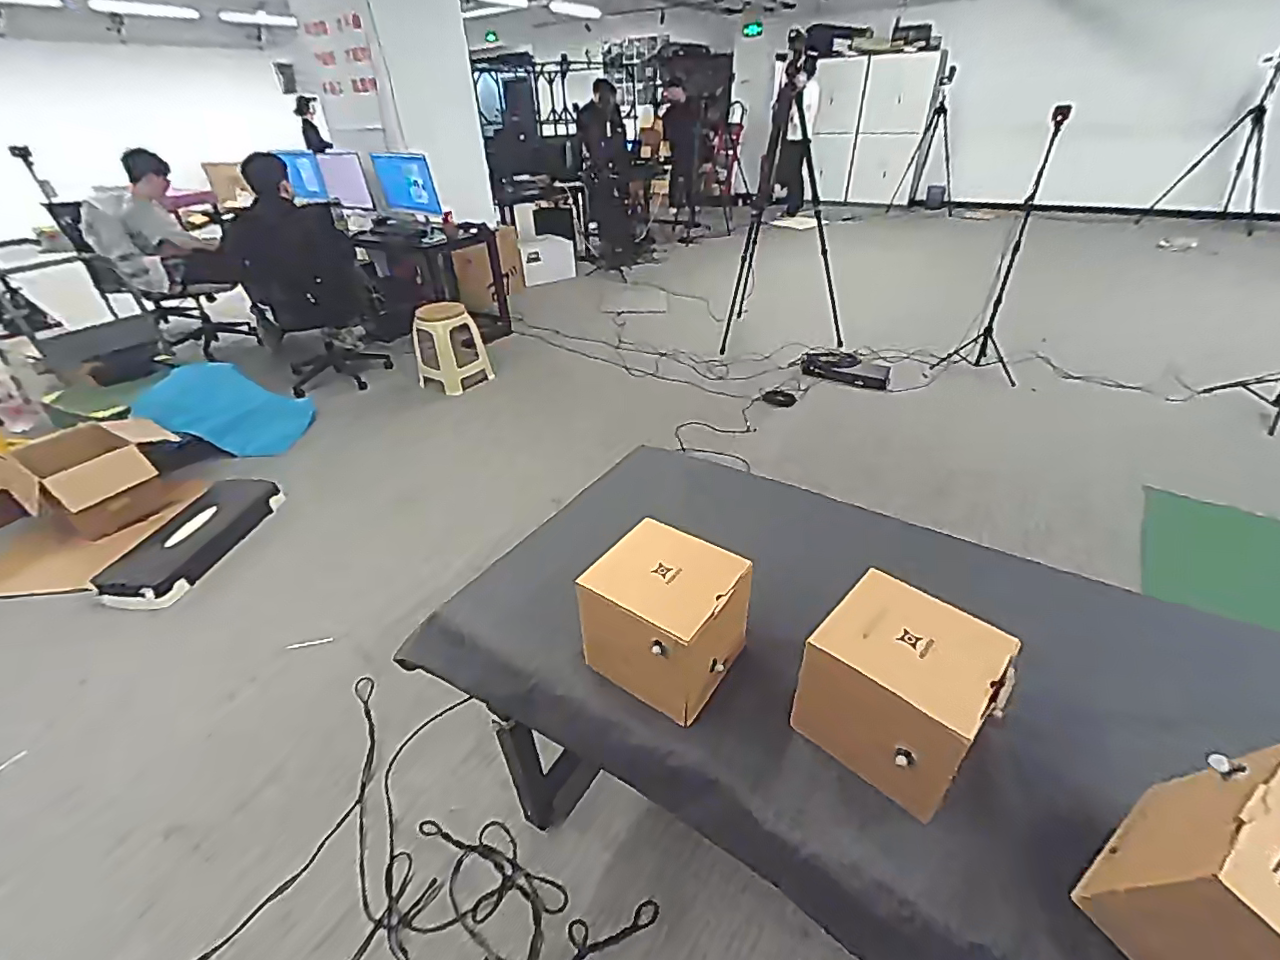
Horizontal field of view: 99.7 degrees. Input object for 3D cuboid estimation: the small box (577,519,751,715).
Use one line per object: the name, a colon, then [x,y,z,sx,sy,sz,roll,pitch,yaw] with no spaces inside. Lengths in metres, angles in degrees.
small box: [0.034,0.187,0.751,0.179,0.176,0.168,21,40,30]

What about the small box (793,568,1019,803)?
small box: [0.305,0.245,0.646,0.179,0.176,0.168,26,43,37]
